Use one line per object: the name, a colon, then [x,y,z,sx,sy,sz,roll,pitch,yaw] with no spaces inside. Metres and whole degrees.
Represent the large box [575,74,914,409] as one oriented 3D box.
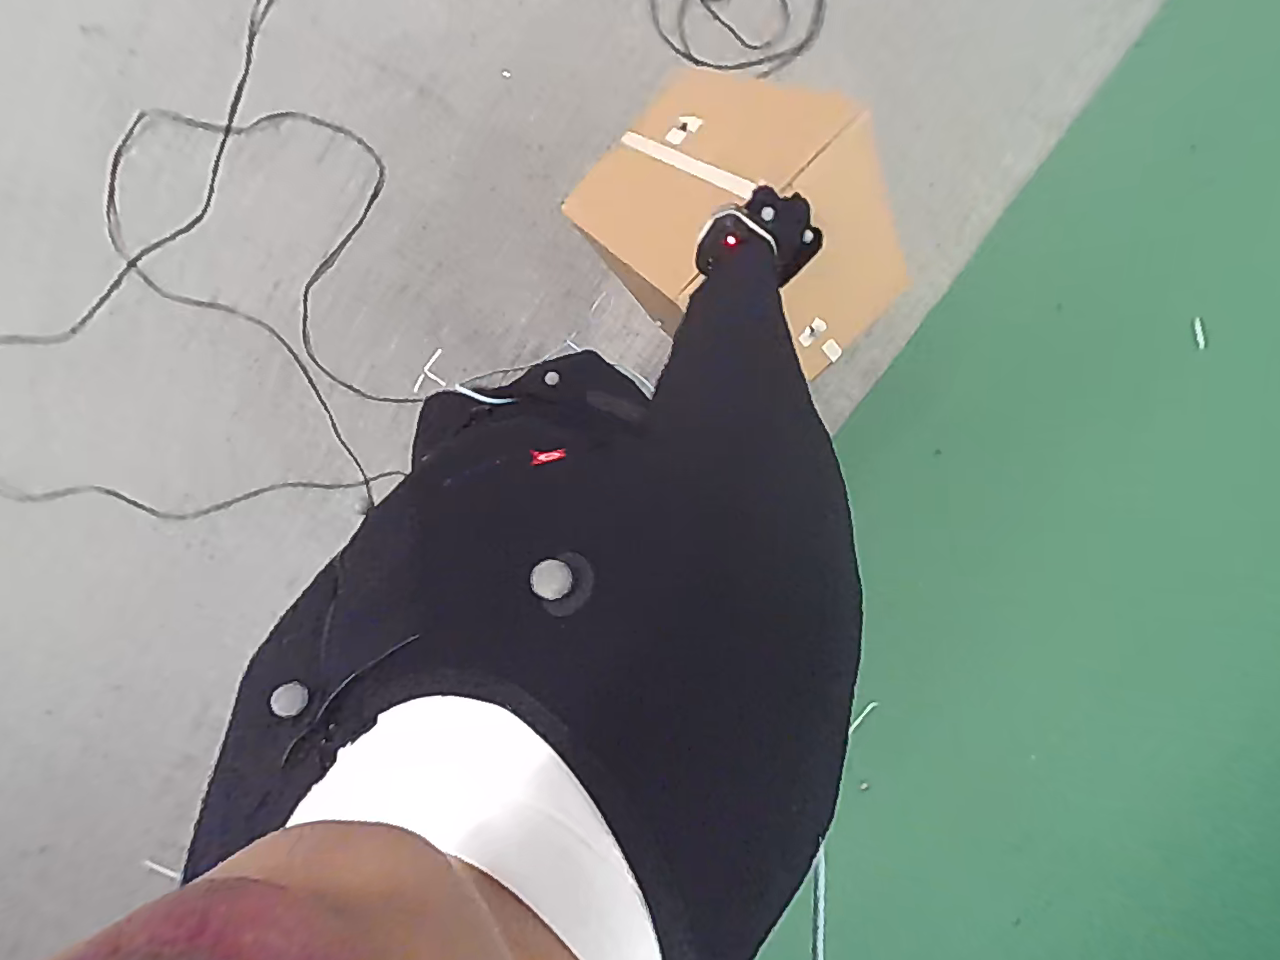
large box: [0.163,-0.391,0.896,0.320,0.408,0.320,-43,138,8]
